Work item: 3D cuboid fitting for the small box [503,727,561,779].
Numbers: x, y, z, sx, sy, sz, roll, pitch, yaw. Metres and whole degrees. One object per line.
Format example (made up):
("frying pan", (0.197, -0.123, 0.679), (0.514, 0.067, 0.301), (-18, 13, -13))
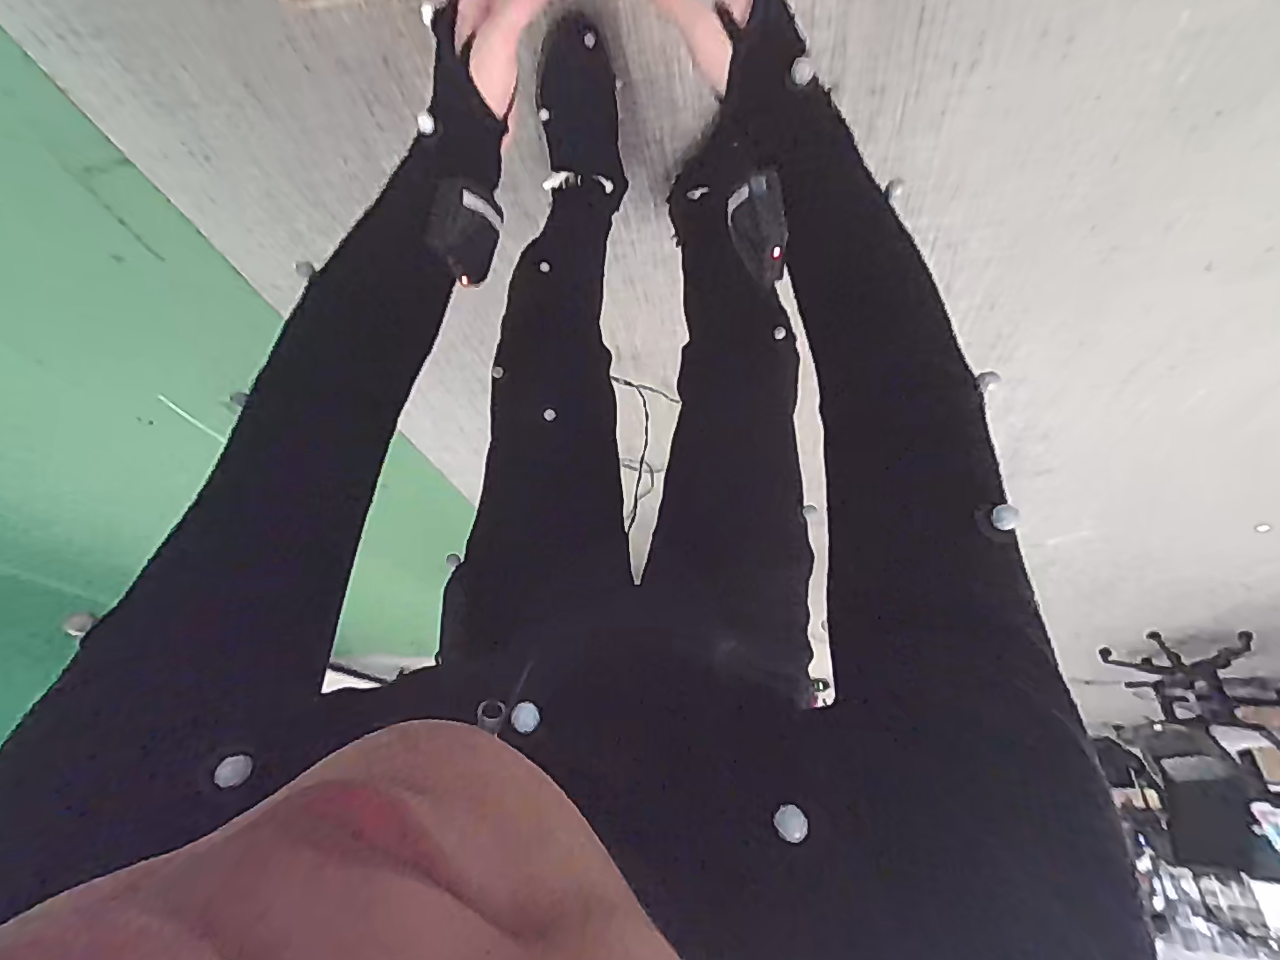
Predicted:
("small box", (-0.421, 1.083, 2.144), (0.168, 0.176, 0.179), (-4, 149, 11))
